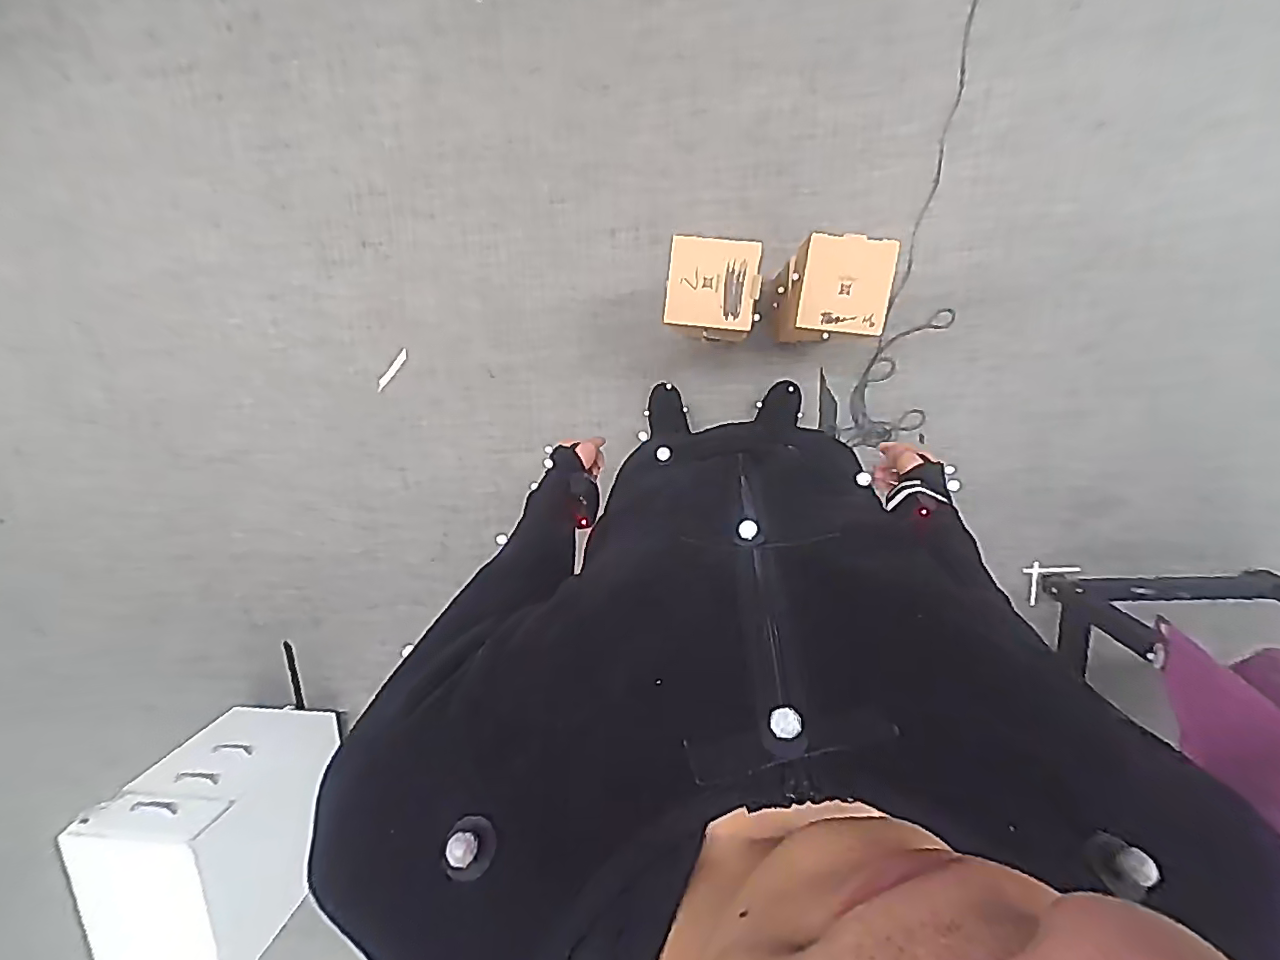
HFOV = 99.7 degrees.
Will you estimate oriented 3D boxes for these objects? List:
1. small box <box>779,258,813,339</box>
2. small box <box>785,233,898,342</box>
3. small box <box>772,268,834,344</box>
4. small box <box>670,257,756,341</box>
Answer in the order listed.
[{"bbox_3d":[0.424,-0.422,1.269,0.179,0.176,0.168,1,102,7],"label":"small box"},{"bbox_3d":[0.402,-0.387,1.109,0.168,0.176,0.179,8,101,5],"label":"small box"},{"bbox_3d":[0.442,-0.456,1.425,0.168,0.176,0.179,-1,102,8],"label":"small box"},{"bbox_3d":[0.172,-0.425,1.293,0.179,0.176,0.168,8,103,6],"label":"small box"}]
